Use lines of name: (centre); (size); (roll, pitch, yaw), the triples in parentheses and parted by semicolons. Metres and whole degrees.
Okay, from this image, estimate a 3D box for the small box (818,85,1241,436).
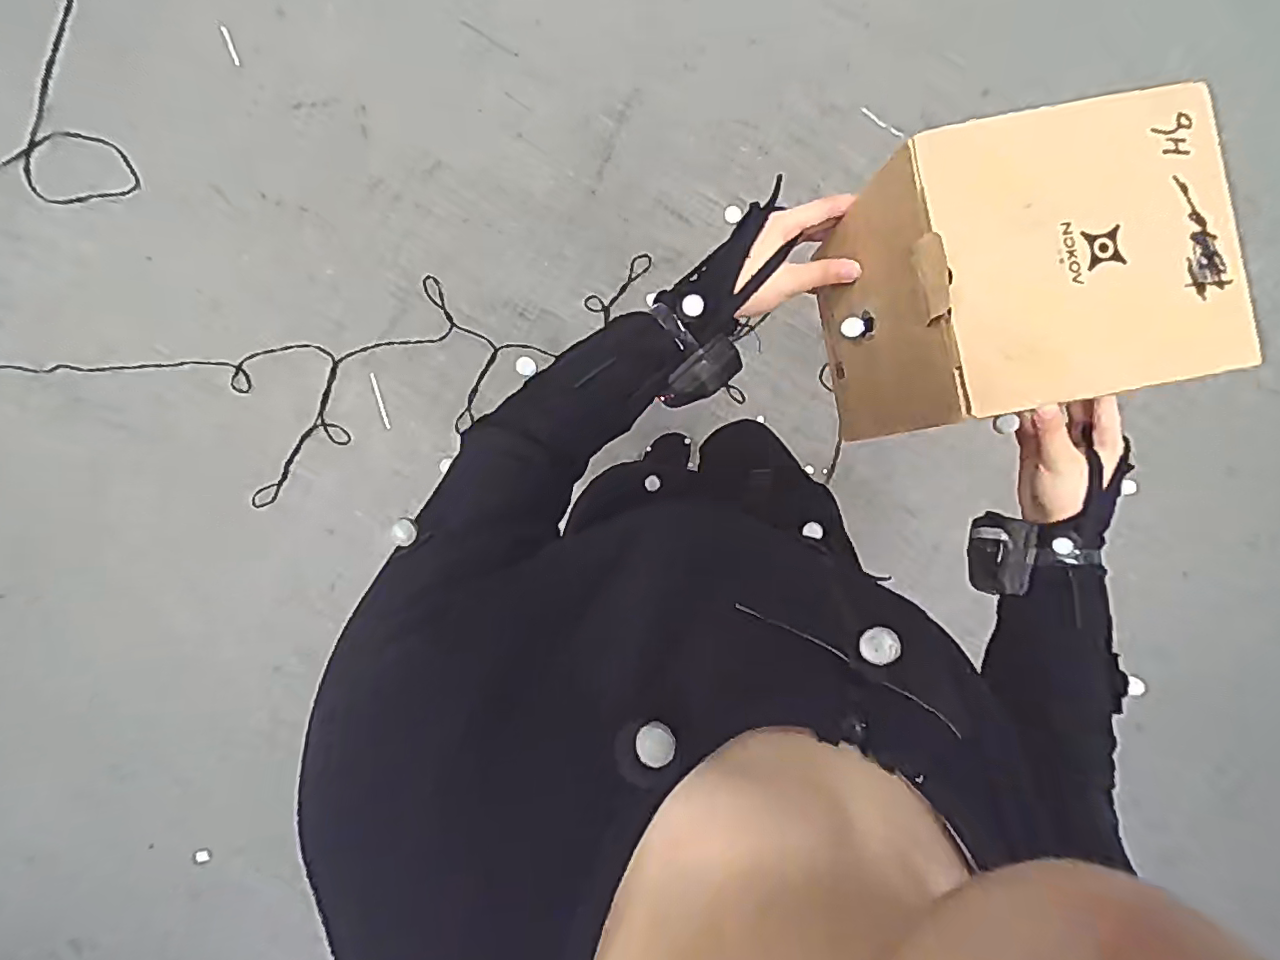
small box: (0.243, -0.131, 0.389); (0.179, 0.176, 0.168); (-11, 90, -1)
